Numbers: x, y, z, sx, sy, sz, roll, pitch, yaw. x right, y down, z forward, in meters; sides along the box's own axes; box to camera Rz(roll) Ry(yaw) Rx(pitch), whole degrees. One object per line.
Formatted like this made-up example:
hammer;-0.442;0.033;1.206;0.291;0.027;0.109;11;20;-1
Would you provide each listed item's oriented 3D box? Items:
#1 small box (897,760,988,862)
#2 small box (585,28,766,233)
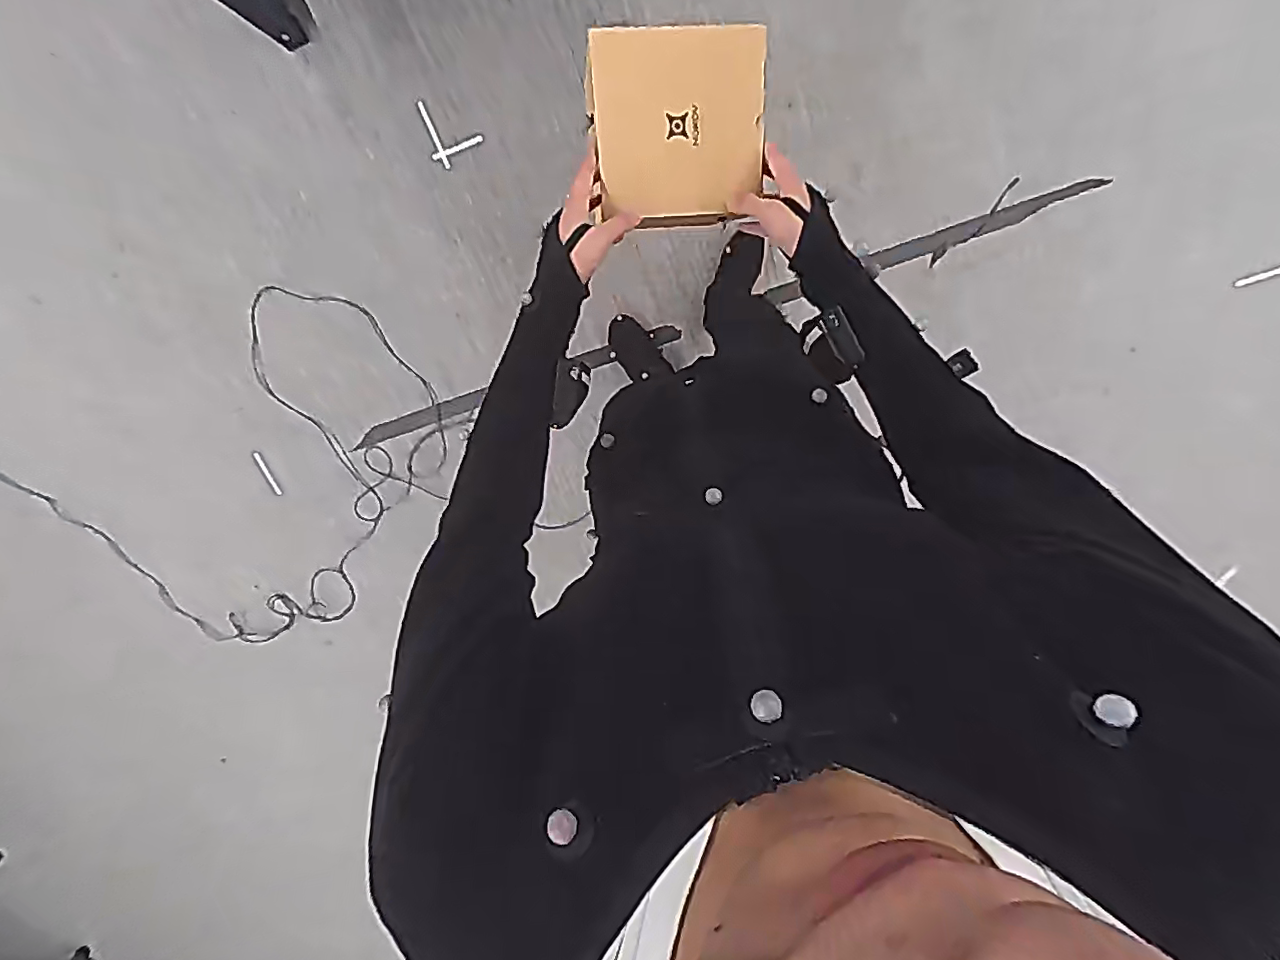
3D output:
small box;0.897;0.981;1.612;0.168;0.176;0.179;-20;108;4
small box;0.030;-0.380;0.616;0.179;0.176;0.168;-6;112;-6
